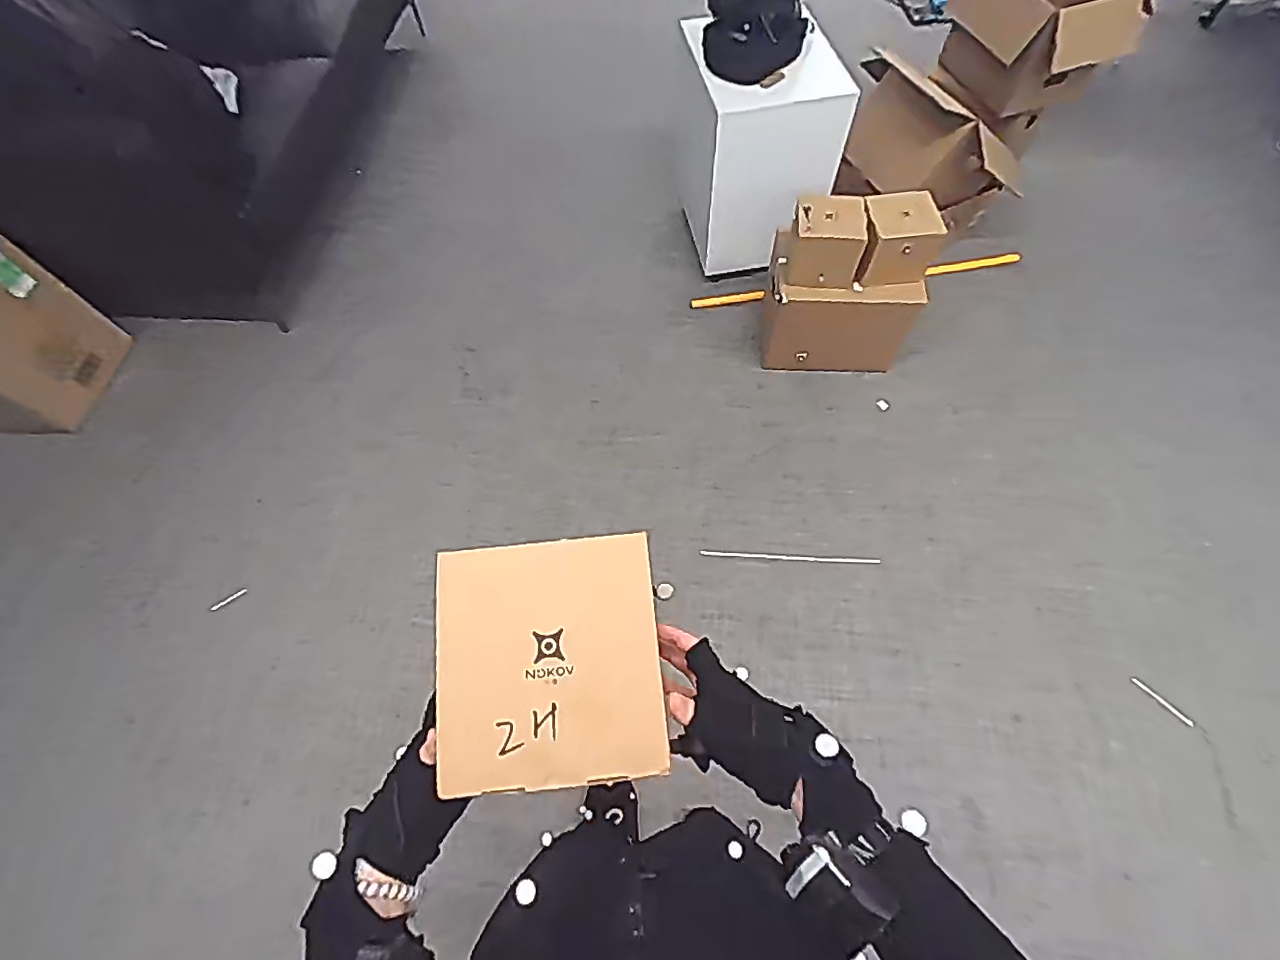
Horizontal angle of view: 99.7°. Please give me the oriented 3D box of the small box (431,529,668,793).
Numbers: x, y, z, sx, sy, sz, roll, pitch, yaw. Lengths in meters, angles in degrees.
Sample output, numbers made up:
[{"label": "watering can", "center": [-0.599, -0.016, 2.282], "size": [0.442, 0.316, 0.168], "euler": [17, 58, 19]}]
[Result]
[{"label": "small box", "center": [-0.068, 0.149, 0.471], "size": [0.168, 0.176, 0.179], "euler": [-5, 74, -1]}]
